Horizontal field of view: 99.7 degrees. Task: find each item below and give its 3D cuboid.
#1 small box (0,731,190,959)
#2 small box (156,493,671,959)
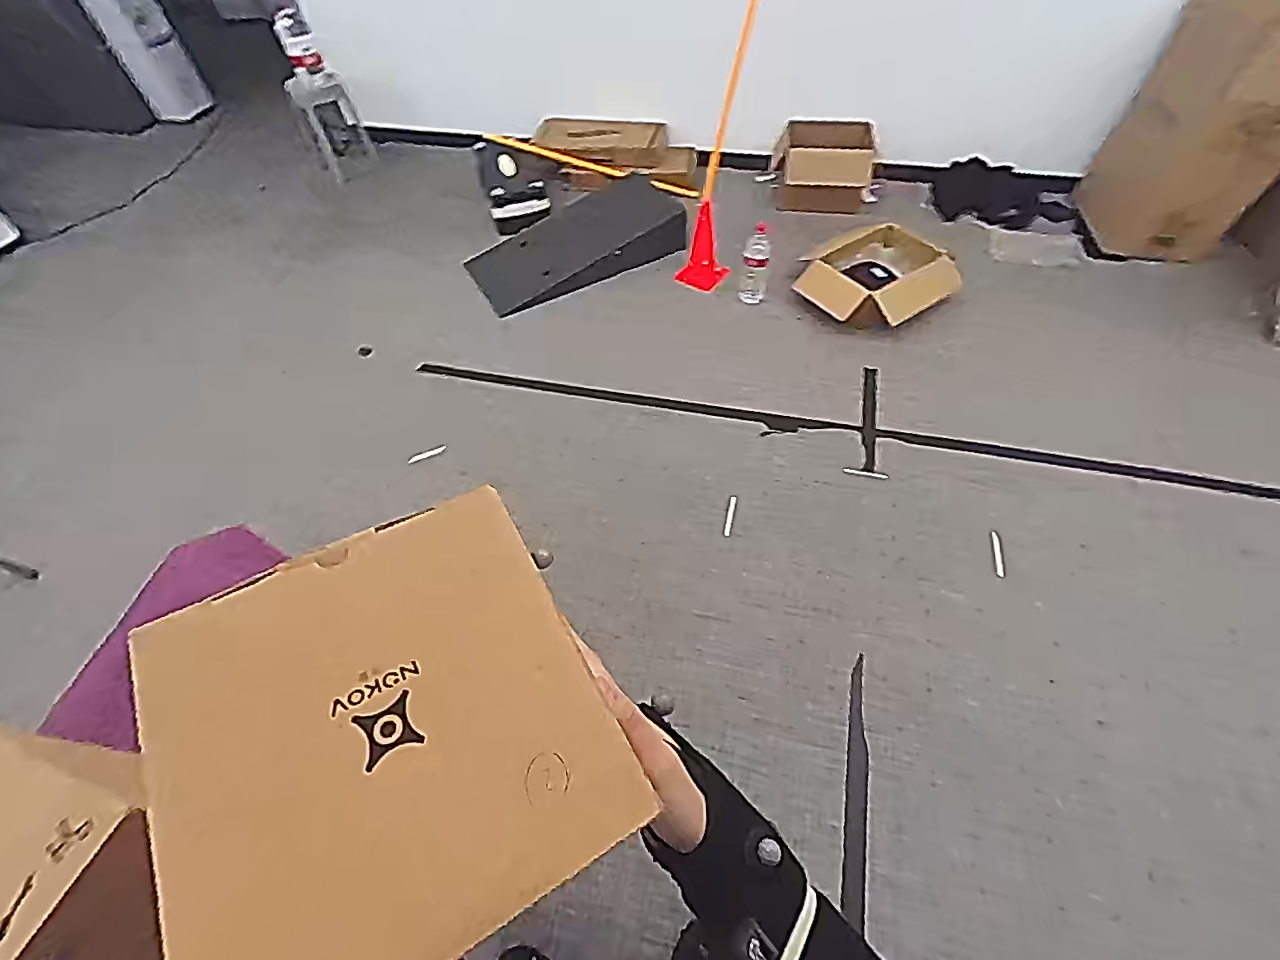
[{"bbox_3d":[-0.450,0.320,0.413,0.179,0.176,0.168,14,56,14],"label":"small box"},{"bbox_3d":[-0.103,0.144,0.289,0.168,0.176,0.179,-24,61,-20],"label":"small box"}]
